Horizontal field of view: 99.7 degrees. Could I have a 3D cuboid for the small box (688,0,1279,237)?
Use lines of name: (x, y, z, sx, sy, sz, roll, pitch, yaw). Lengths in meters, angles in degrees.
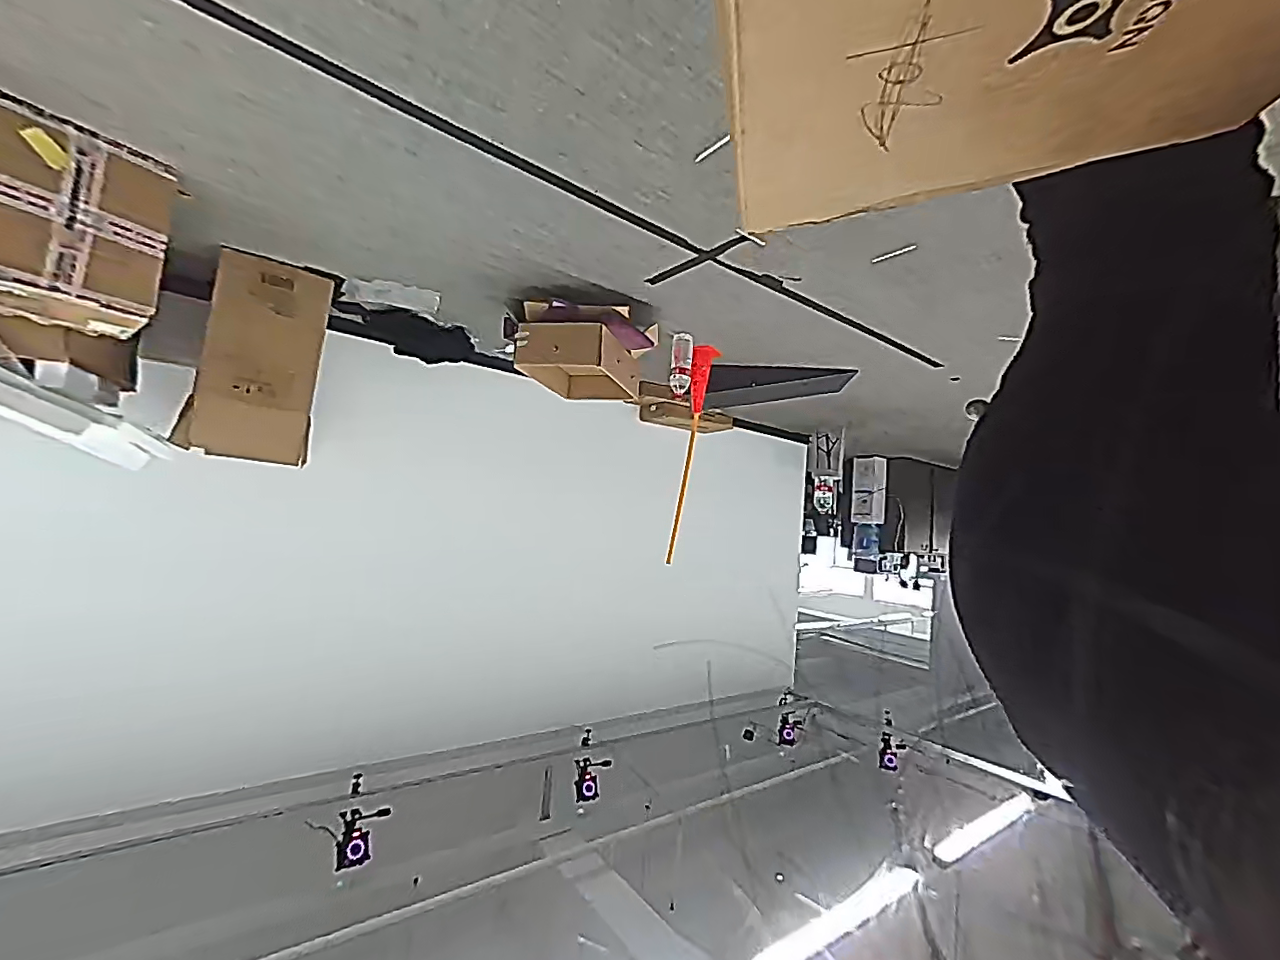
small box: (0.092, -0.188, 0.125, 0.179, 0.176, 0.168, -6, 180, 13)
